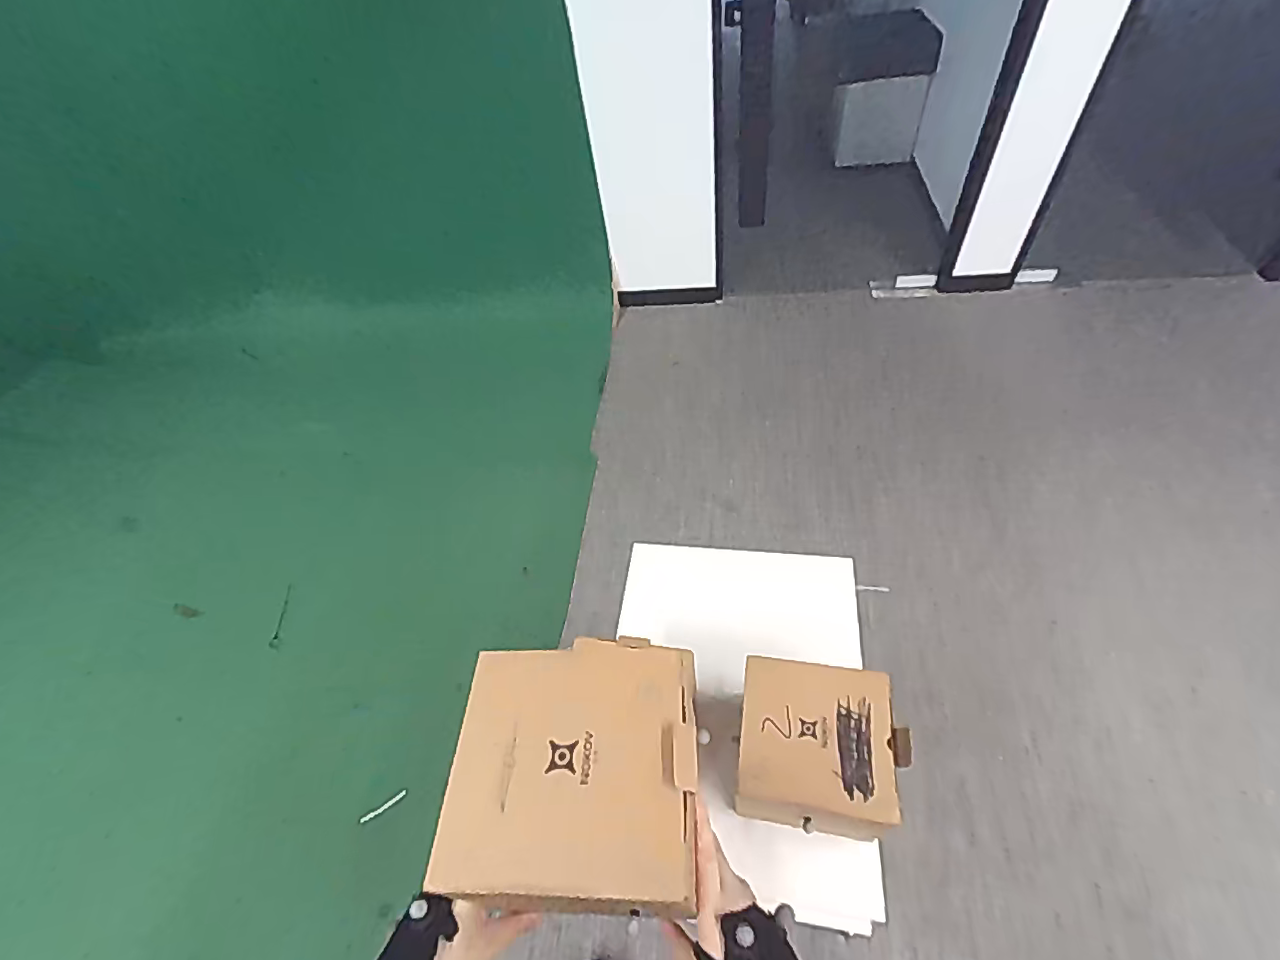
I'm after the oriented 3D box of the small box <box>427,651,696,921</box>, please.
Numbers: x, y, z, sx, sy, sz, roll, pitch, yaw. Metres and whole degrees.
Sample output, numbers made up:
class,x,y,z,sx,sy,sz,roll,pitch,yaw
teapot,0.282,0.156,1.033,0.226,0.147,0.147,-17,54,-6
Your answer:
class,x,y,z,sx,sy,sz,roll,pitch,yaw
small box,-0.042,0.258,0.458,0.179,0.176,0.168,-3,47,7
